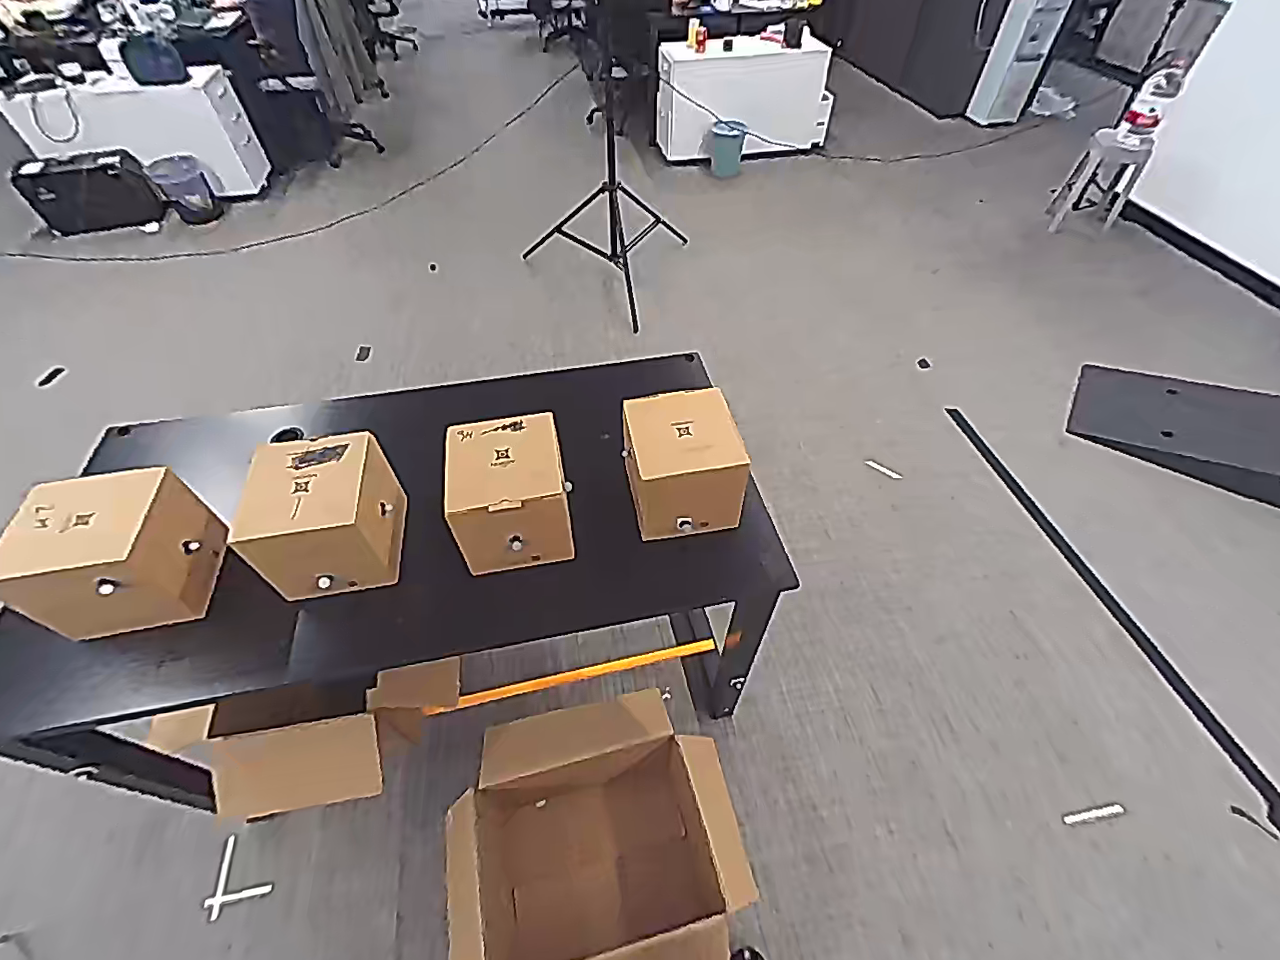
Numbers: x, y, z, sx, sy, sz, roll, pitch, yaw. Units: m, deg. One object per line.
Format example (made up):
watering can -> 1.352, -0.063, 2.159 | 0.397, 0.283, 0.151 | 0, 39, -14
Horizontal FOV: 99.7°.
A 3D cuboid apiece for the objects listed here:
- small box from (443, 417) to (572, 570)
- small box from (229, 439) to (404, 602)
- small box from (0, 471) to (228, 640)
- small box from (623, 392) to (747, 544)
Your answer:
small box -> -0.206, 0.028, 0.864 | 0.168, 0.176, 0.179 | -9, 51, -7
small box -> -0.478, 0.063, 0.835 | 0.168, 0.176, 0.179 | -9, 51, -7
small box -> -0.755, 0.113, 0.791 | 0.179, 0.176, 0.168 | -10, 50, -8
small box -> 0.065, -0.019, 0.903 | 0.168, 0.176, 0.179 | -10, 51, -6
